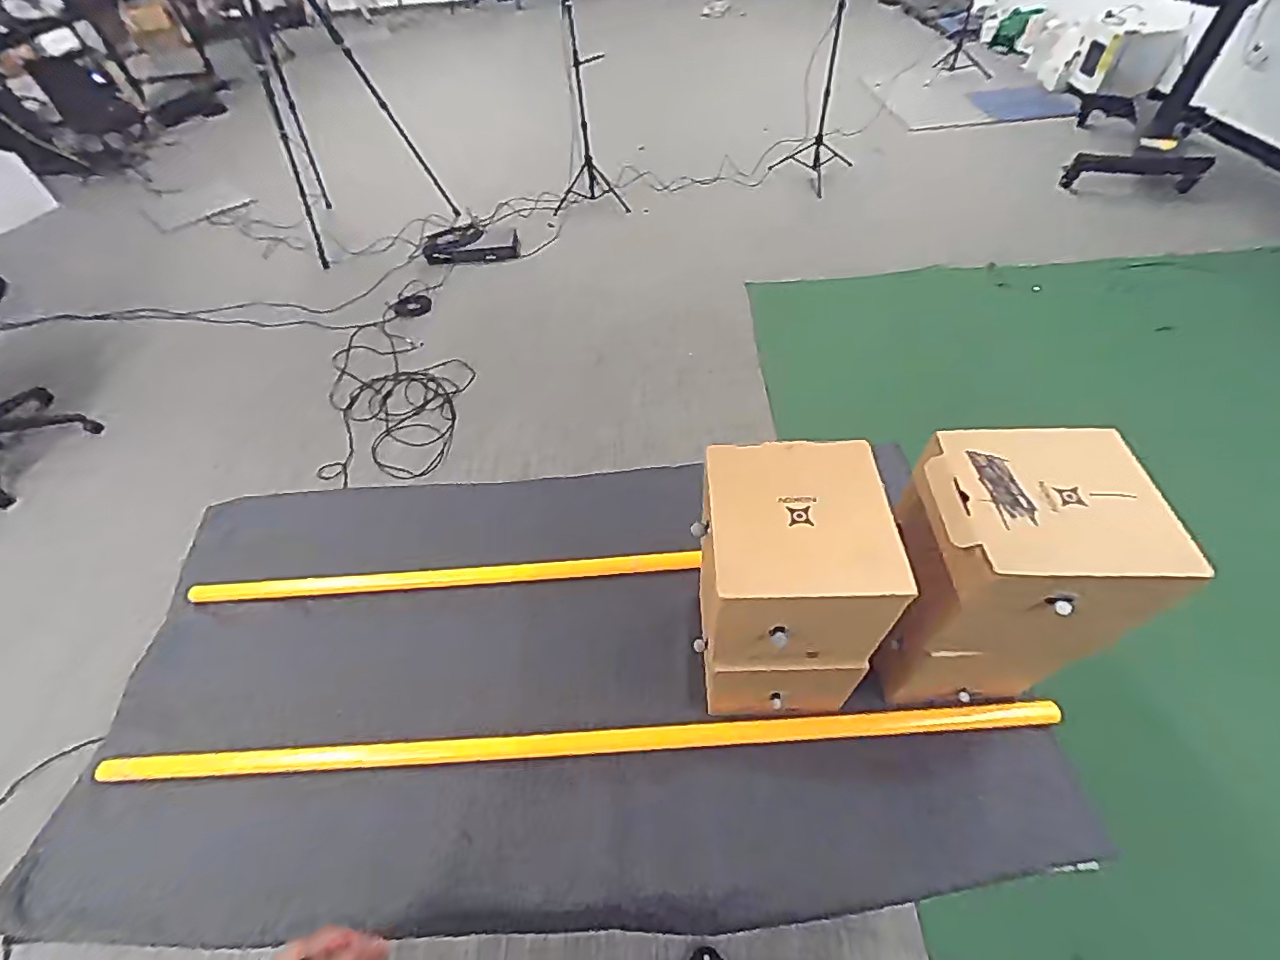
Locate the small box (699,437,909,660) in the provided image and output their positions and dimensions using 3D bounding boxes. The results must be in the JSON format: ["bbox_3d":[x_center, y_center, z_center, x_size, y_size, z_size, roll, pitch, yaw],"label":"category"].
[{"bbox_3d":[0.149,0.078,0.560,0.168,0.176,0.179,-3,51,4],"label":"small box"}]

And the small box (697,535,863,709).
[{"bbox_3d":[0.161,0.182,0.684,0.168,0.176,0.179,-2,51,2],"label":"small box"}]

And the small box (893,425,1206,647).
[{"bbox_3d":[0.378,0.061,0.550,0.179,0.176,0.168,0,52,4],"label":"small box"}]
